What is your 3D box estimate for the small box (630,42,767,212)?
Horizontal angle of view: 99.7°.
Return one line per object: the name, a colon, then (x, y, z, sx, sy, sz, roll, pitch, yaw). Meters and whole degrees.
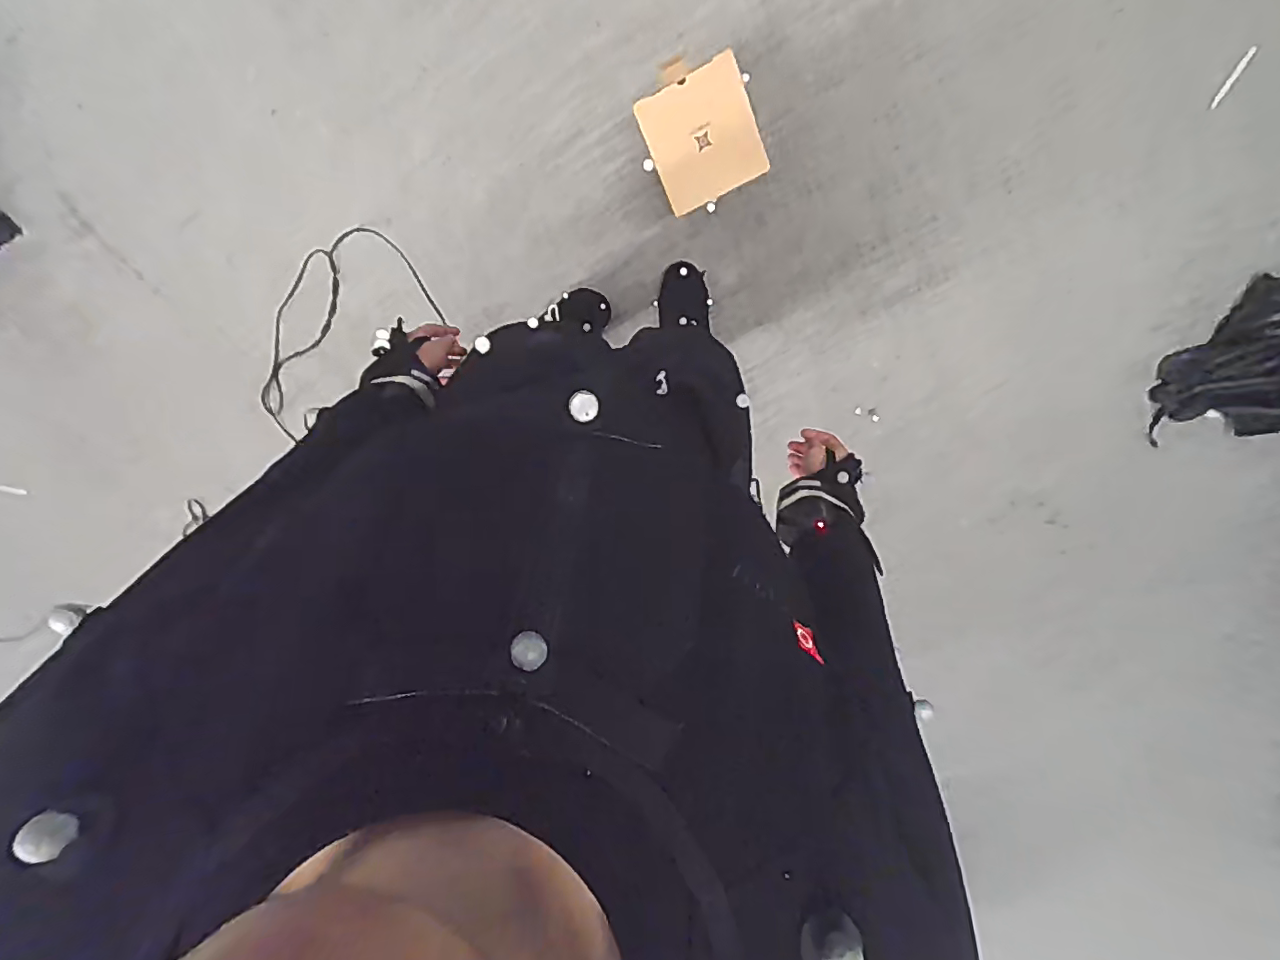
small box: (0.100, -0.573, 0.905, 0.168, 0.176, 0.179, -21, 111, 15)
